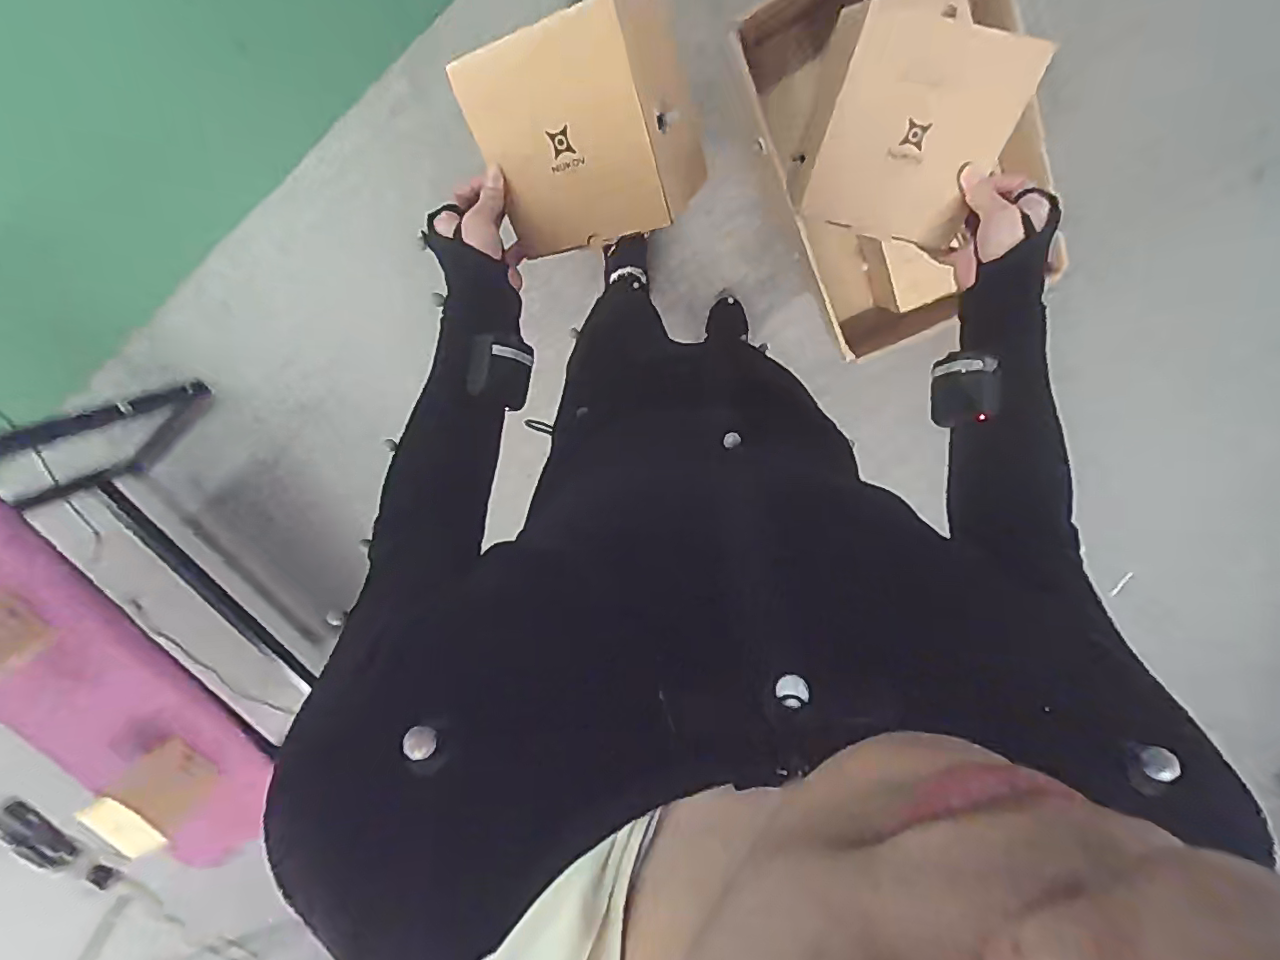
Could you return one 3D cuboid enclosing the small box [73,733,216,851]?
[{"bbox_3d":[-1.220,0.771,1.345,0.179,0.176,0.168,-30,106,19],"label":"small box"}]
